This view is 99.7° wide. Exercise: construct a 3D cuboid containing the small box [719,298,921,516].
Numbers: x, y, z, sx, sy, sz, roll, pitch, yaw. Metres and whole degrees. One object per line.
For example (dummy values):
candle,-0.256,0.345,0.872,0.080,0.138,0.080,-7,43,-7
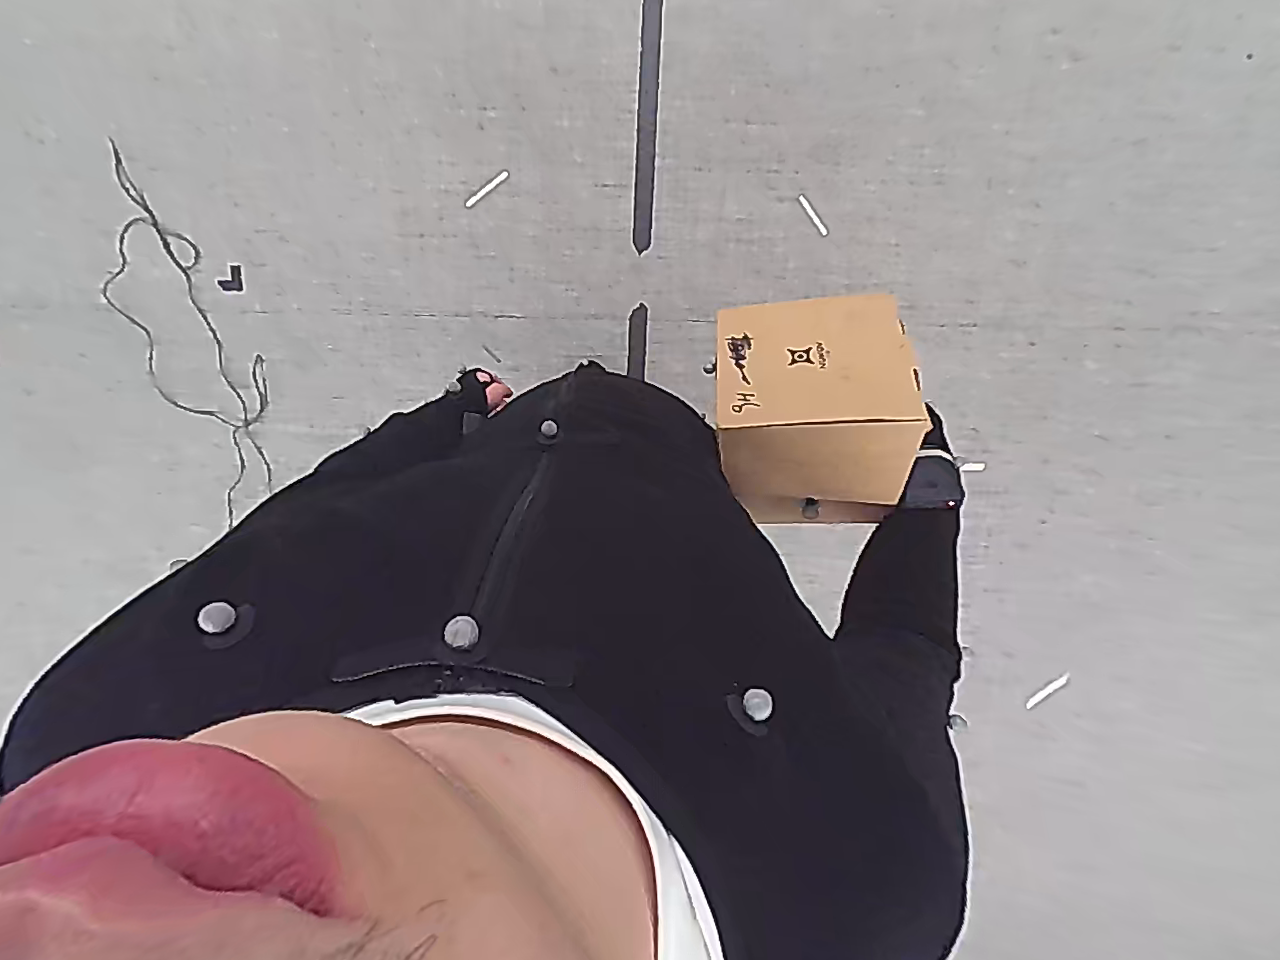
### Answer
small box,0.177,-0.072,0.587,0.179,0.168,0.176,-1,144,11
